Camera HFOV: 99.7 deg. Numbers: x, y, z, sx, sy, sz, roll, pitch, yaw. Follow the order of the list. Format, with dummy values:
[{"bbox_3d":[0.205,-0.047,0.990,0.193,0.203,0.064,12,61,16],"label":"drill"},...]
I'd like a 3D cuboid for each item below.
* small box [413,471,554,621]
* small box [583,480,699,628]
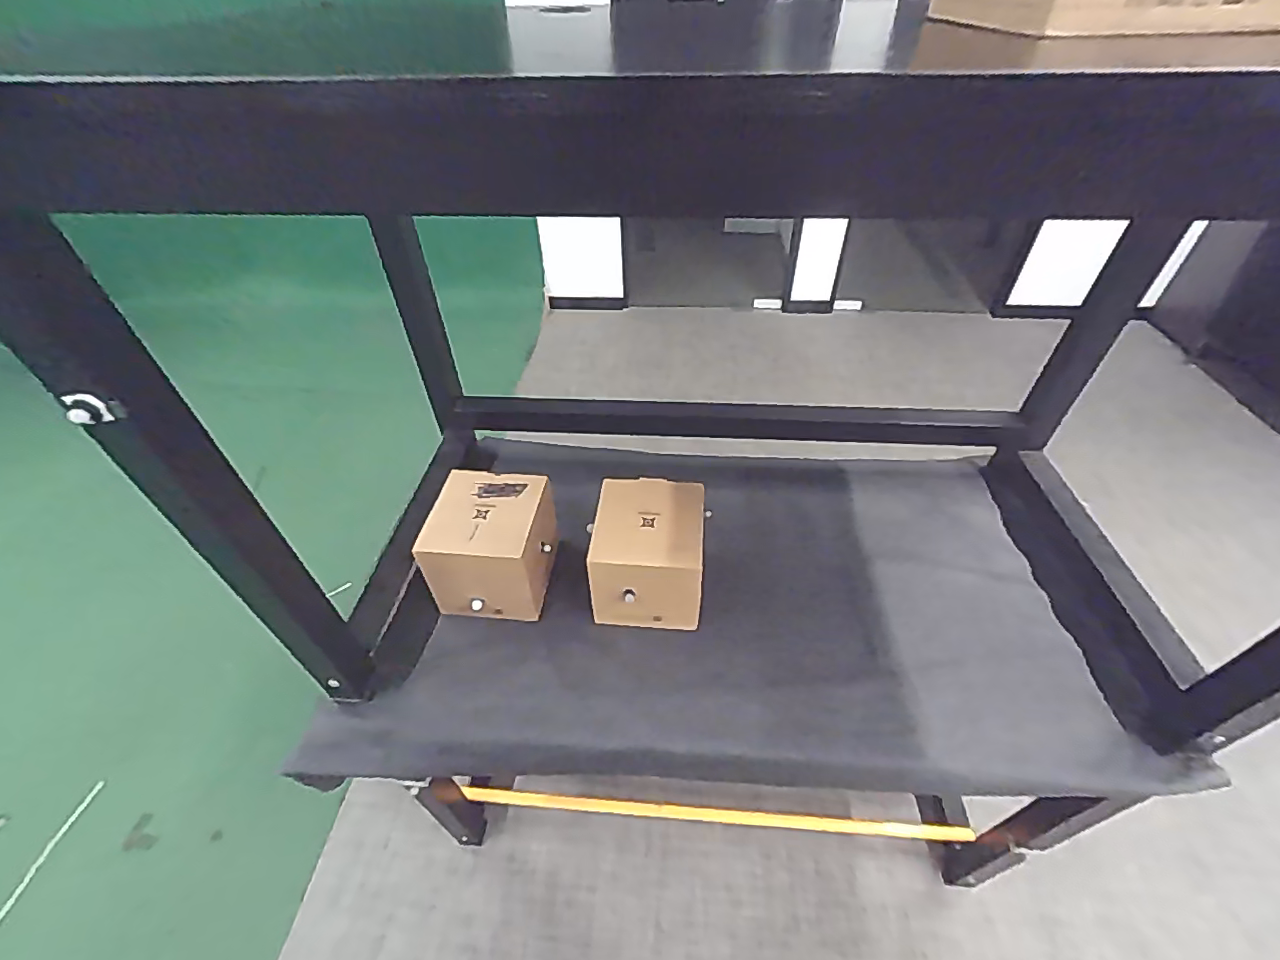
[{"bbox_3d":[-0.243,0.108,0.893,0.168,0.176,0.179,3,44,4],"label":"small box"},{"bbox_3d":[0.009,0.121,0.877,0.168,0.176,0.179,3,43,4],"label":"small box"}]
